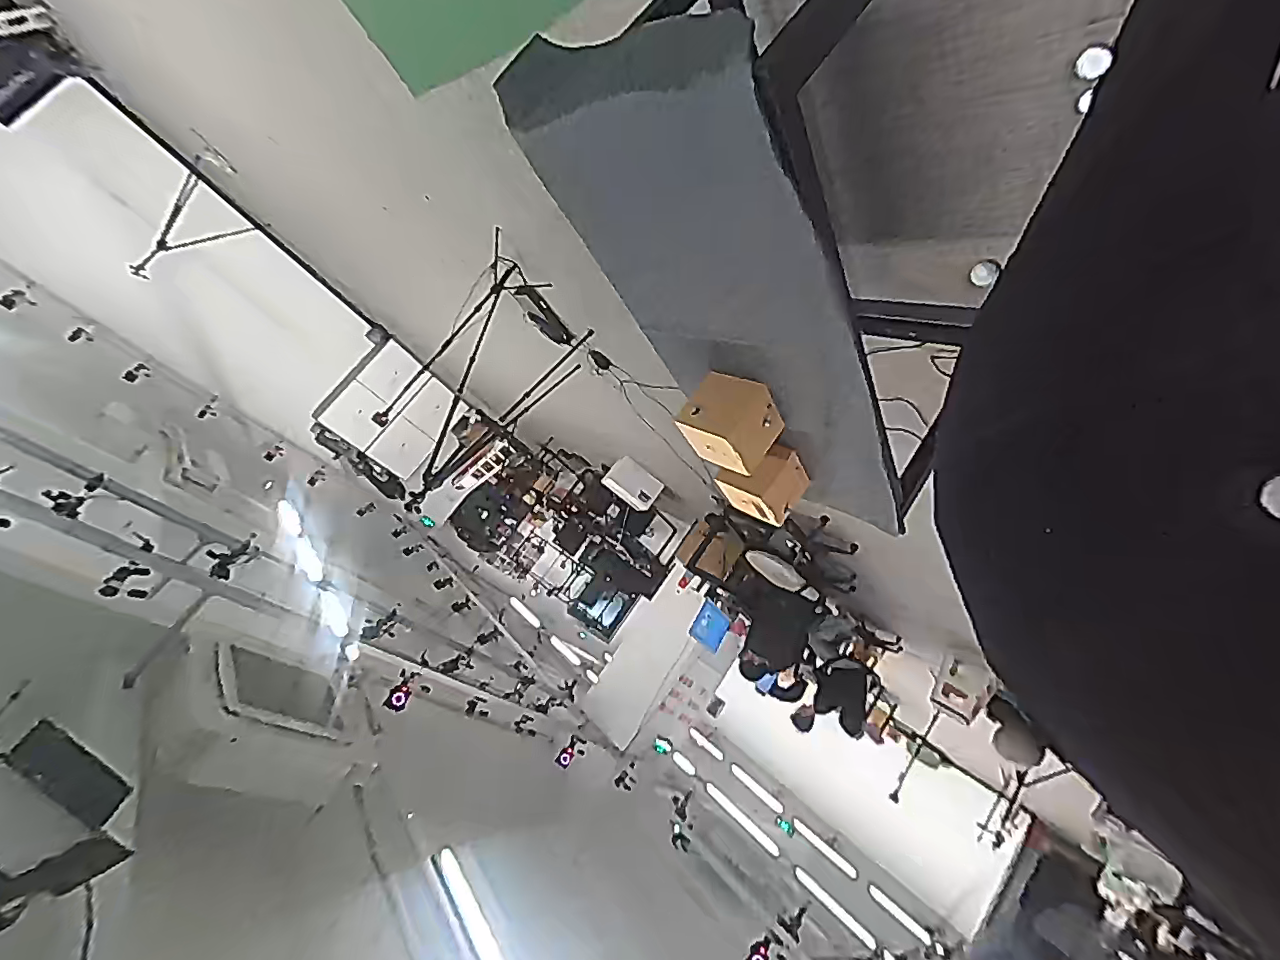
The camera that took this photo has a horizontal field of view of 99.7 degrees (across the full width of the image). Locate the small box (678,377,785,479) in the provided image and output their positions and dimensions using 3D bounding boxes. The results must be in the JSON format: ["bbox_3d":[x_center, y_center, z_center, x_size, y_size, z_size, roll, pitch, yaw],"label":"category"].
[{"bbox_3d":[0.233,-0.136,1.356,0.179,0.176,0.168,25,164,43],"label":"small box"}]
